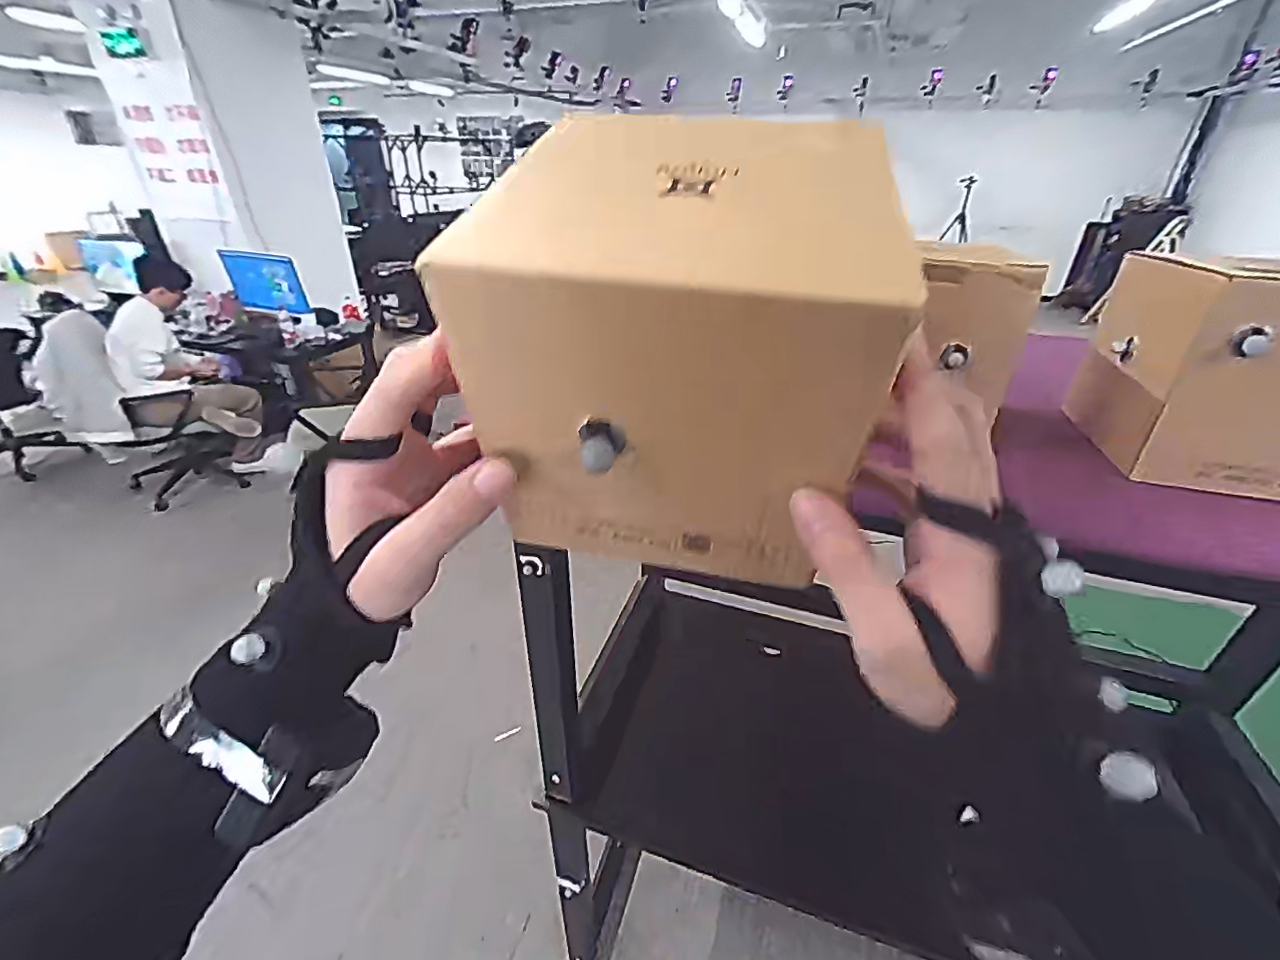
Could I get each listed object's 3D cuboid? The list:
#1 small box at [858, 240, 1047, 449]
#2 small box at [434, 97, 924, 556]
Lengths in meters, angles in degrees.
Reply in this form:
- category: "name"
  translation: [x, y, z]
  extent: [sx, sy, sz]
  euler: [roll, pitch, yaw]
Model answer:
- category: "small box"
  translation: [0.268, -0.145, 0.546]
  extent: [0.168, 0.176, 0.179]
  euler: [12, 30, 18]
- category: "small box"
  translation: [0.027, -0.081, 0.287]
  extent: [0.168, 0.176, 0.179]
  euler: [8, 48, 9]
